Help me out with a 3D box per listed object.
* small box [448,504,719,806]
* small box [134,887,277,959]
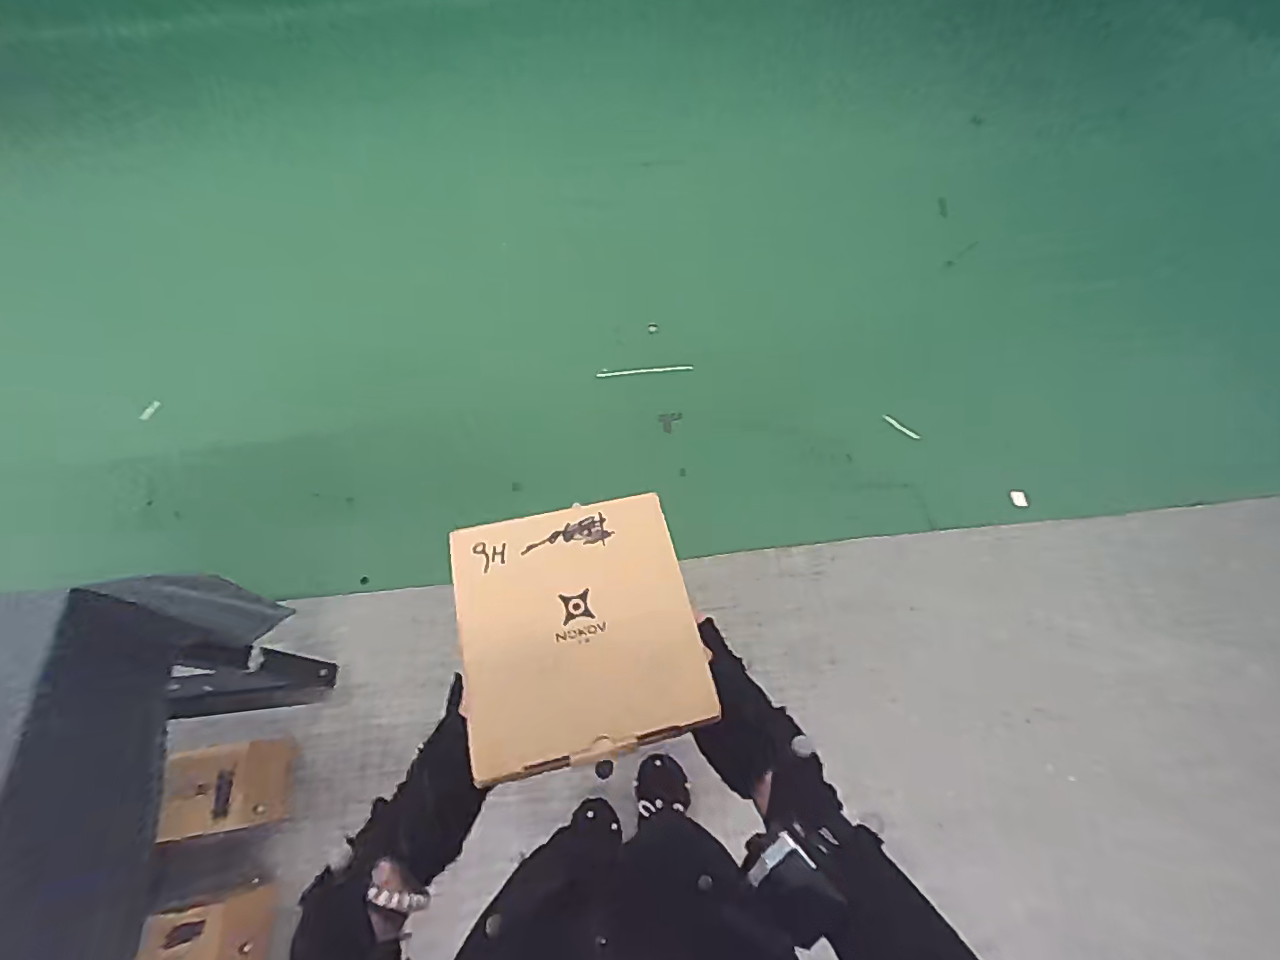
[{"bbox_3d":[-0.049,0.144,0.451,0.168,0.176,0.179,-12,65,-10],"label":"small box"},{"bbox_3d":[-0.867,0.945,1.084,0.168,0.176,0.179,-8,66,-2],"label":"small box"}]
